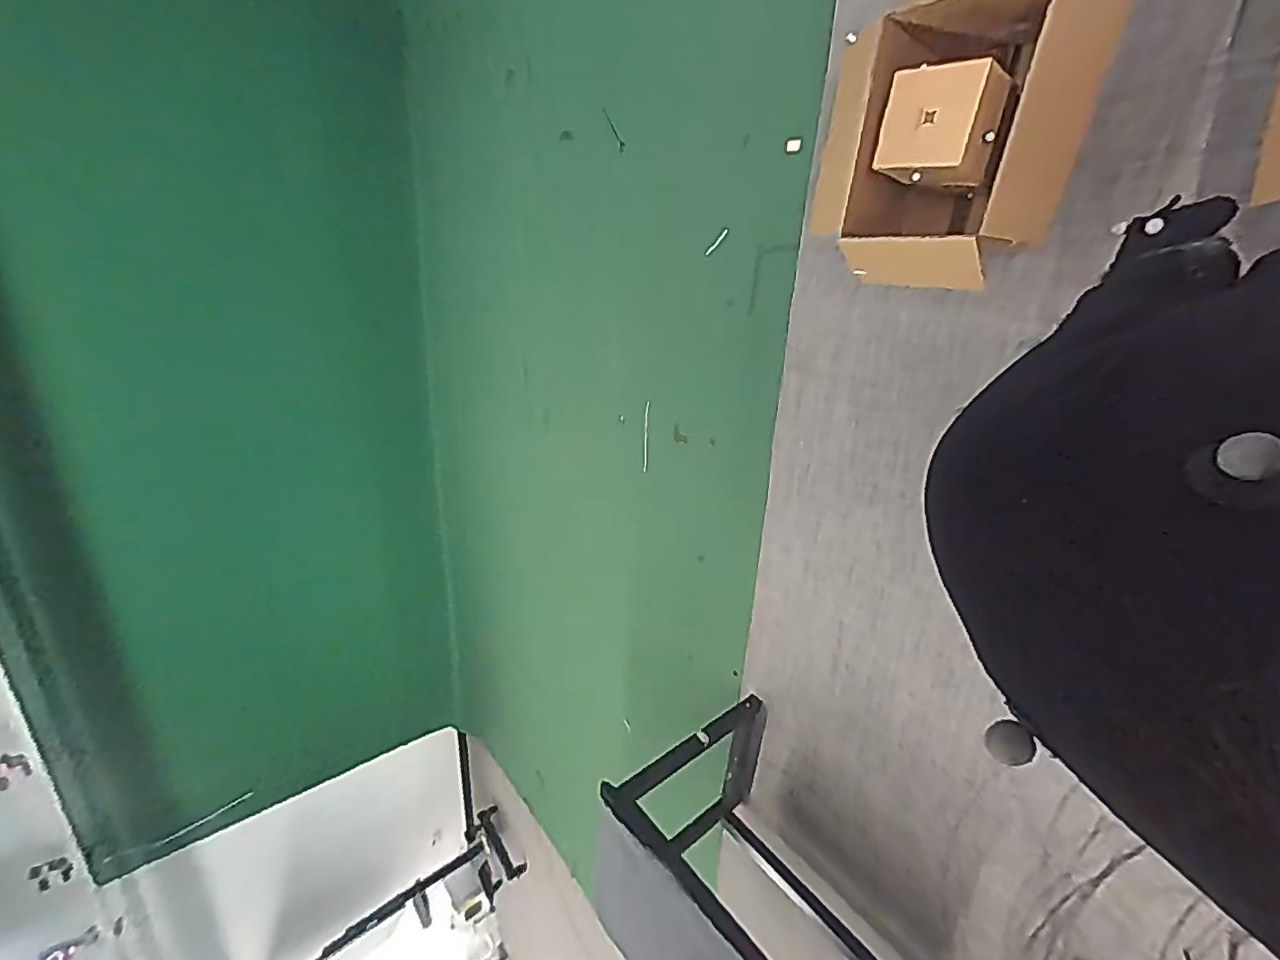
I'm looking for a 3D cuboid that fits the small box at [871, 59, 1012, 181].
[{"bbox_3d":[0.597,-0.699,1.069,0.179,0.176,0.168,28,120,42],"label":"small box"}]
